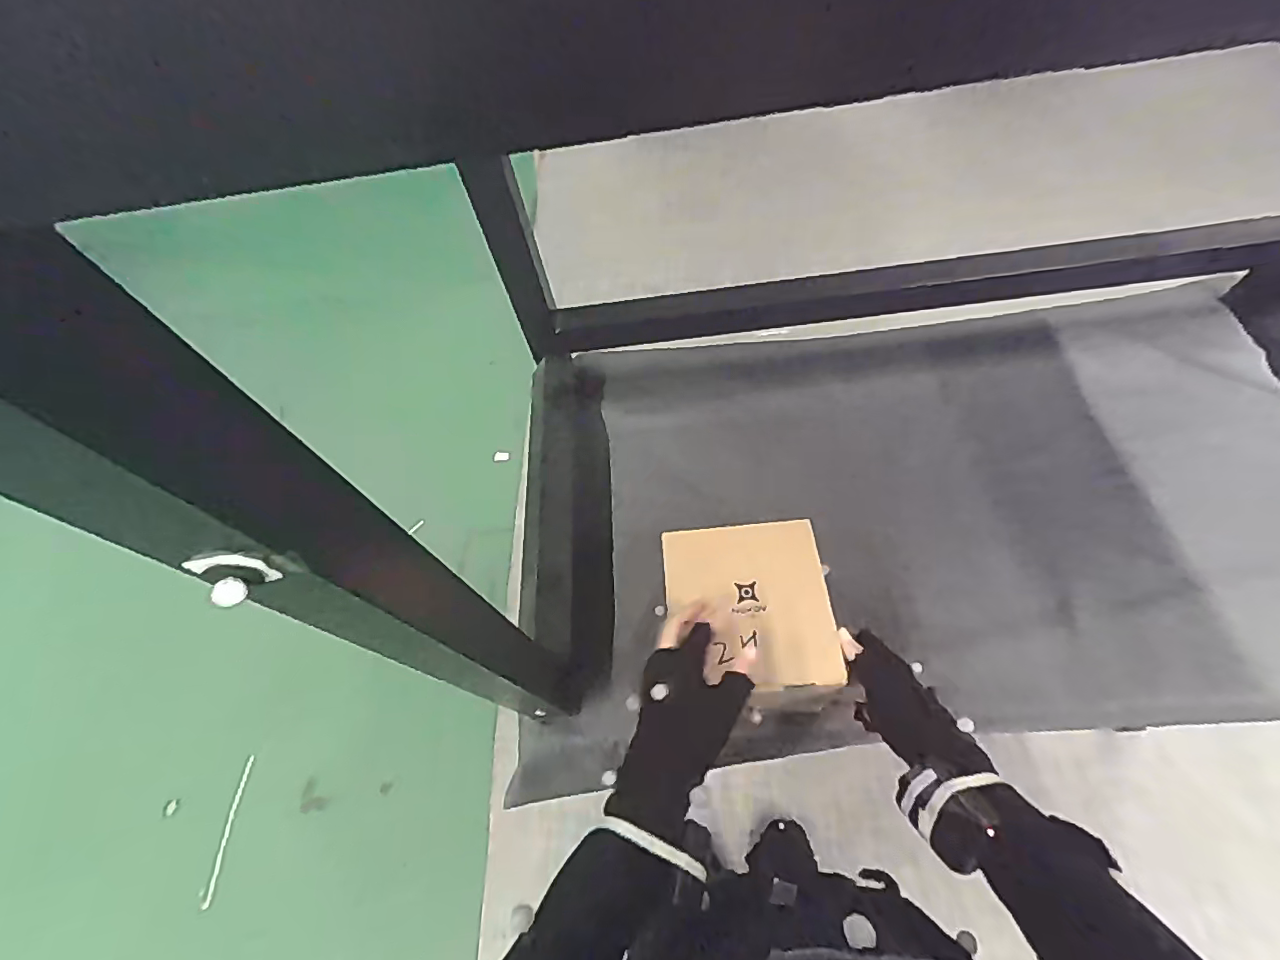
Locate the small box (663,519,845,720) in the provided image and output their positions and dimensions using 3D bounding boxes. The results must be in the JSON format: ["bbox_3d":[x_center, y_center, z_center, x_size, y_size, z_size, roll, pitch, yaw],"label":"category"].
[{"bbox_3d":[0.117,0.165,0.620,0.168,0.176,0.179,-6,58,5],"label":"small box"}]
